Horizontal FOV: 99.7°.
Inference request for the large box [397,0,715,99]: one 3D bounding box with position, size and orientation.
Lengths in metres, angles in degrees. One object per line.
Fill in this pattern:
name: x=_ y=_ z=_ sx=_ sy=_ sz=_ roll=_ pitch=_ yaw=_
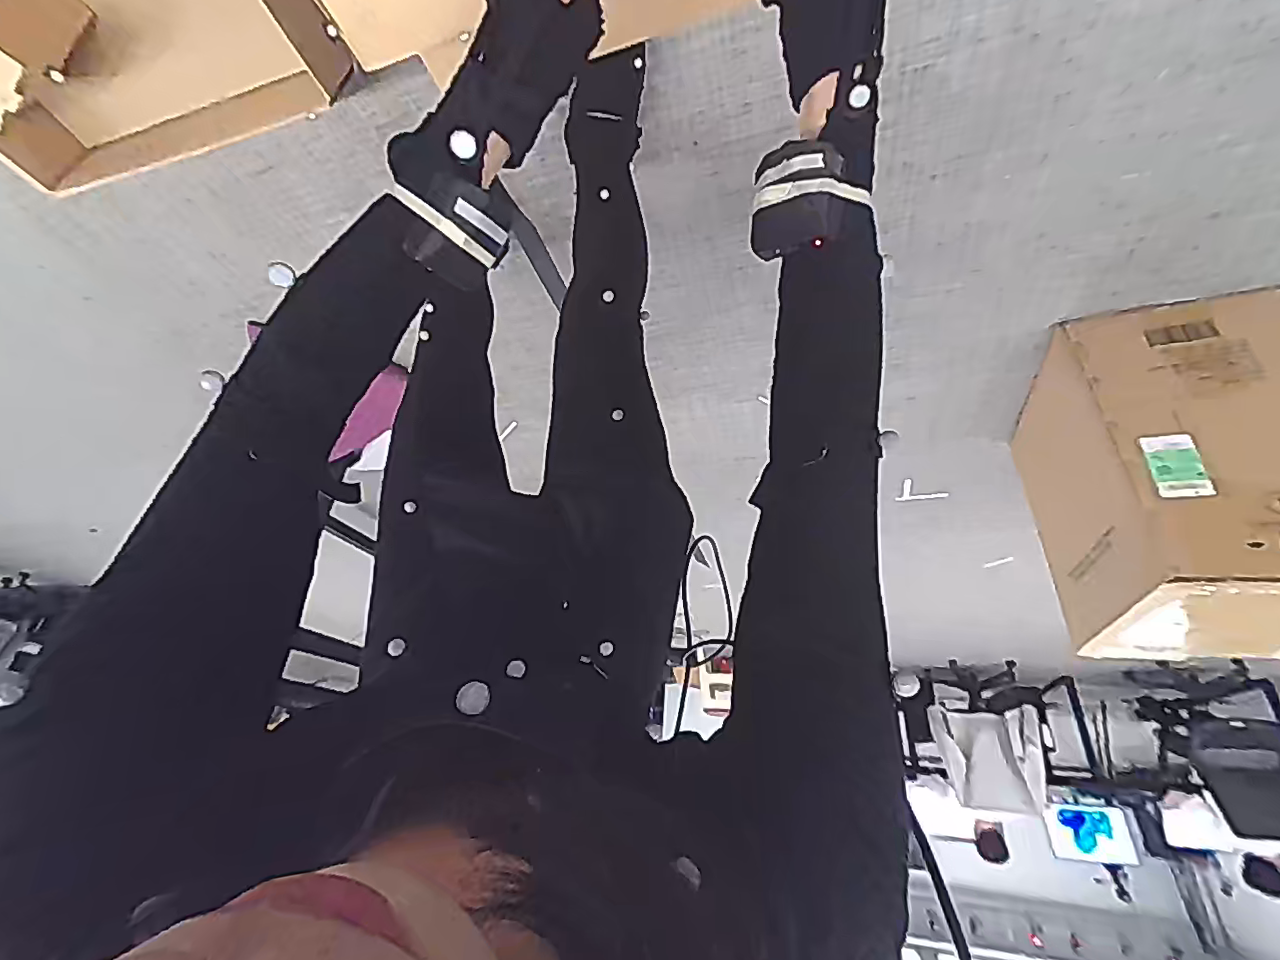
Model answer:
large box: x=-0.074 y=-0.675 z=0.535 sx=0.408 sy=0.320 sz=0.320 roll=-7 pitch=149 yaw=17
